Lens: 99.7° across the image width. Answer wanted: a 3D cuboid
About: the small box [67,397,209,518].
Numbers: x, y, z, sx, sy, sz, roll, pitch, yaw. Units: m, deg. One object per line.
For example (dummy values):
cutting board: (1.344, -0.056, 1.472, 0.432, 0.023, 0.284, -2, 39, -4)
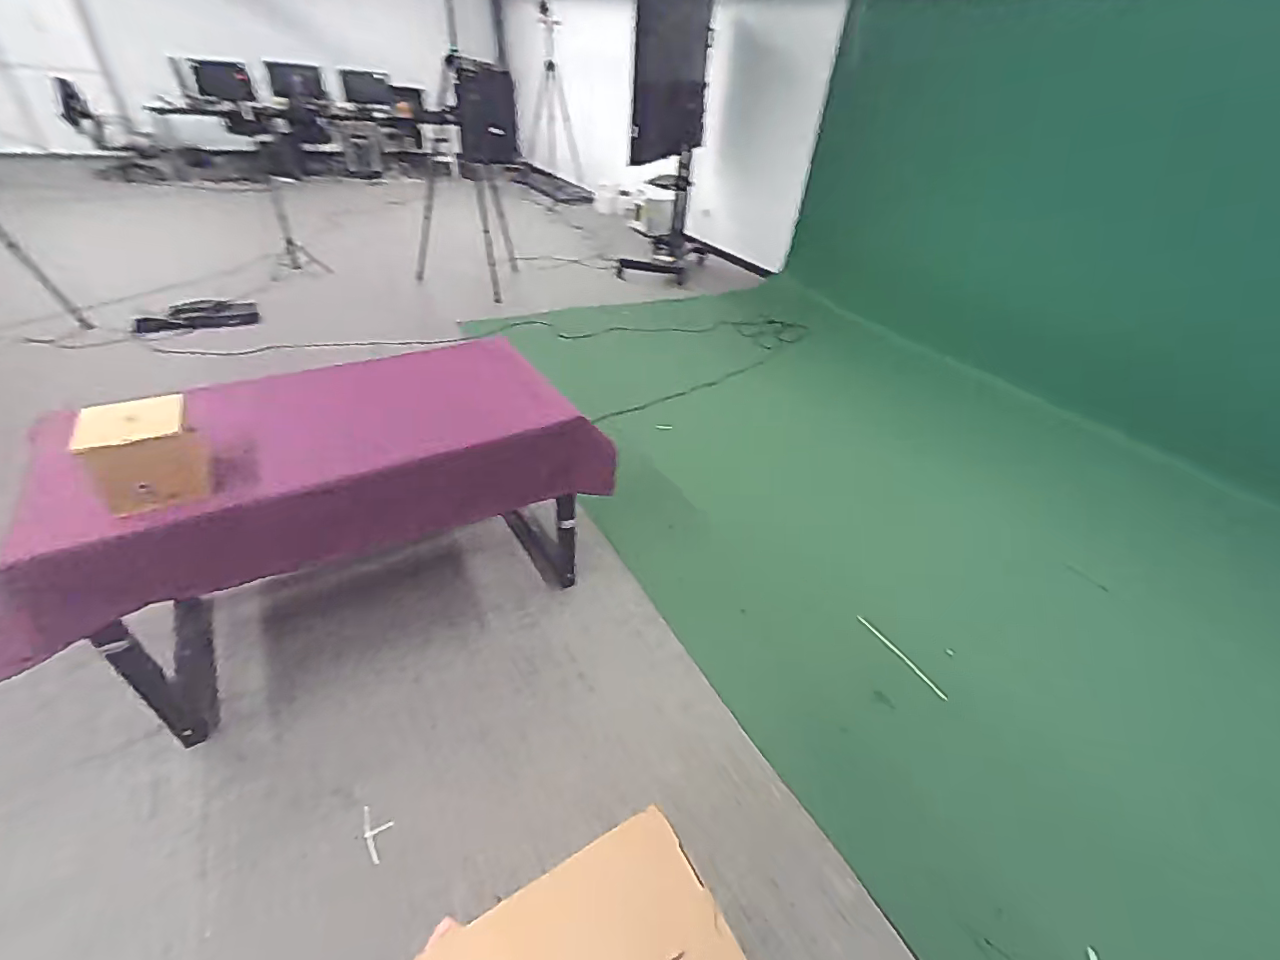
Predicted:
small box: (-1.035, -0.049, 1.132, 0.168, 0.176, 0.179, -18, 44, -28)
